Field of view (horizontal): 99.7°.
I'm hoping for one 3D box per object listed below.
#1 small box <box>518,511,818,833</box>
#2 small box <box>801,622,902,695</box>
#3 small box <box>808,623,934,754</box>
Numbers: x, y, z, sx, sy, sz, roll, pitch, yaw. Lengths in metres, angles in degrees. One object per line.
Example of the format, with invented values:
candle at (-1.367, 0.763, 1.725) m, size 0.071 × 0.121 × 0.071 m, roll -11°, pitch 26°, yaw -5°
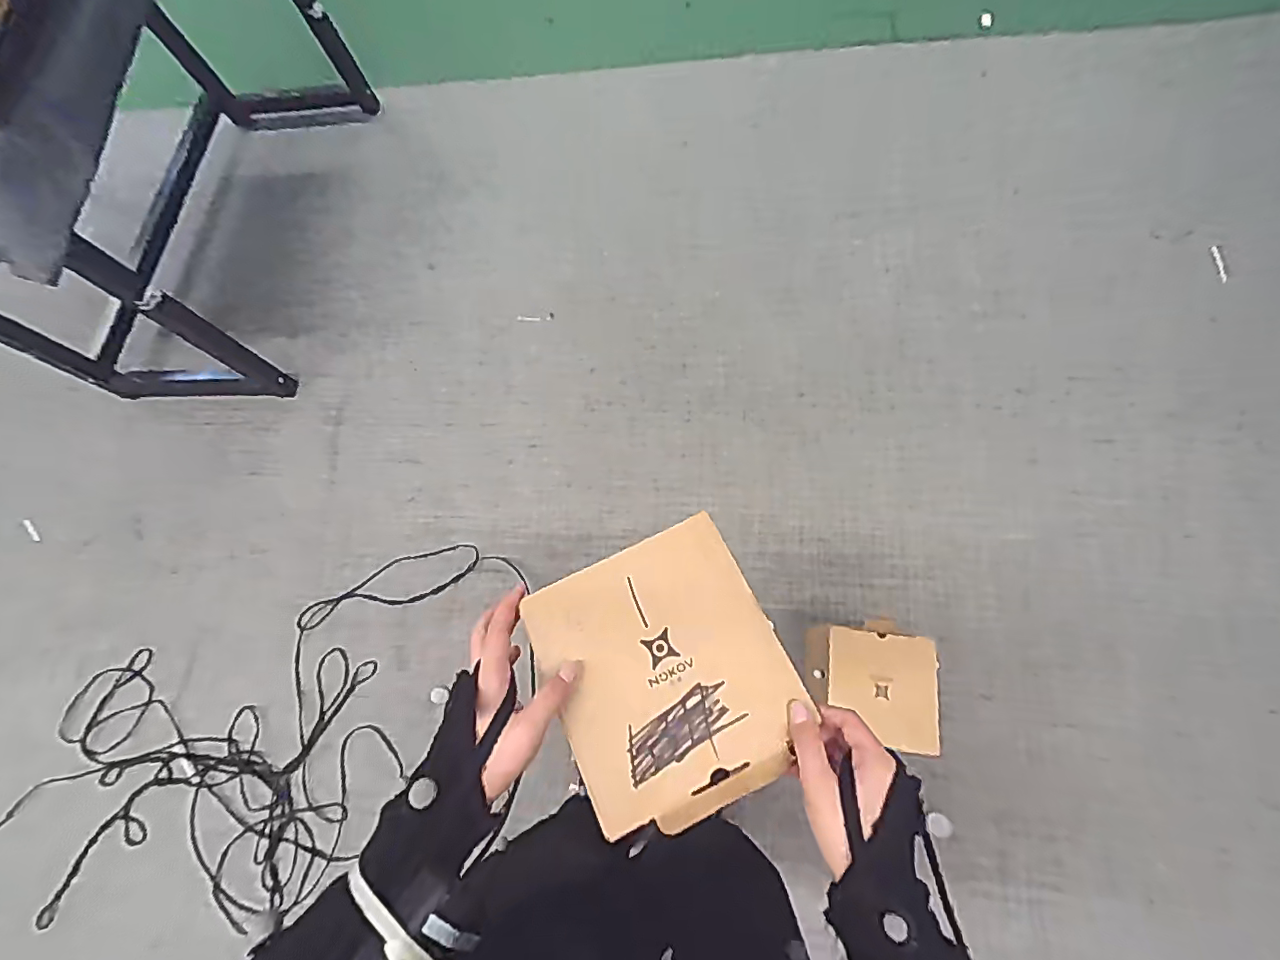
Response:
small box at (0.018, 0.155, 0.466) m, size 0.168 × 0.176 × 0.179 m, roll -25°, pitch 71°, yaw -8°
small box at (0.421, 0.390, 1.086) m, size 0.168 × 0.176 × 0.179 m, roll 5°, pitch 71°, yaw 9°
small box at (0.388, 0.351, 0.930) m, size 0.168 × 0.176 × 0.179 m, roll 5°, pitch 72°, yaw 9°
